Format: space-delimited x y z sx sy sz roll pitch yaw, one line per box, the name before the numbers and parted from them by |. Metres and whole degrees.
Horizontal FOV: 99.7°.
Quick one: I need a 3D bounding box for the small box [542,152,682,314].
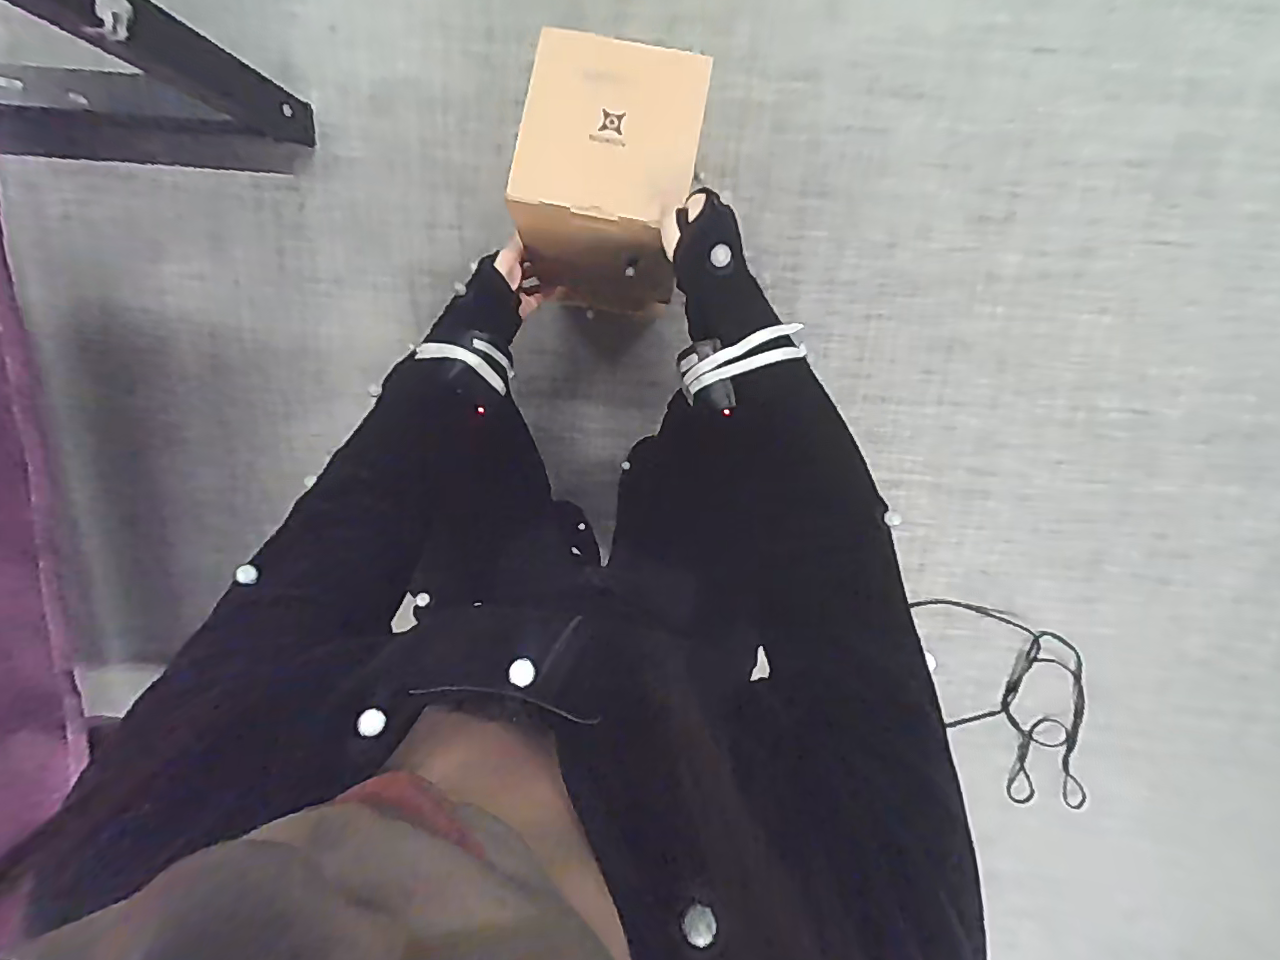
small box | -0.038 -0.336 0.771 0.168 0.176 0.179 7 105 -2
